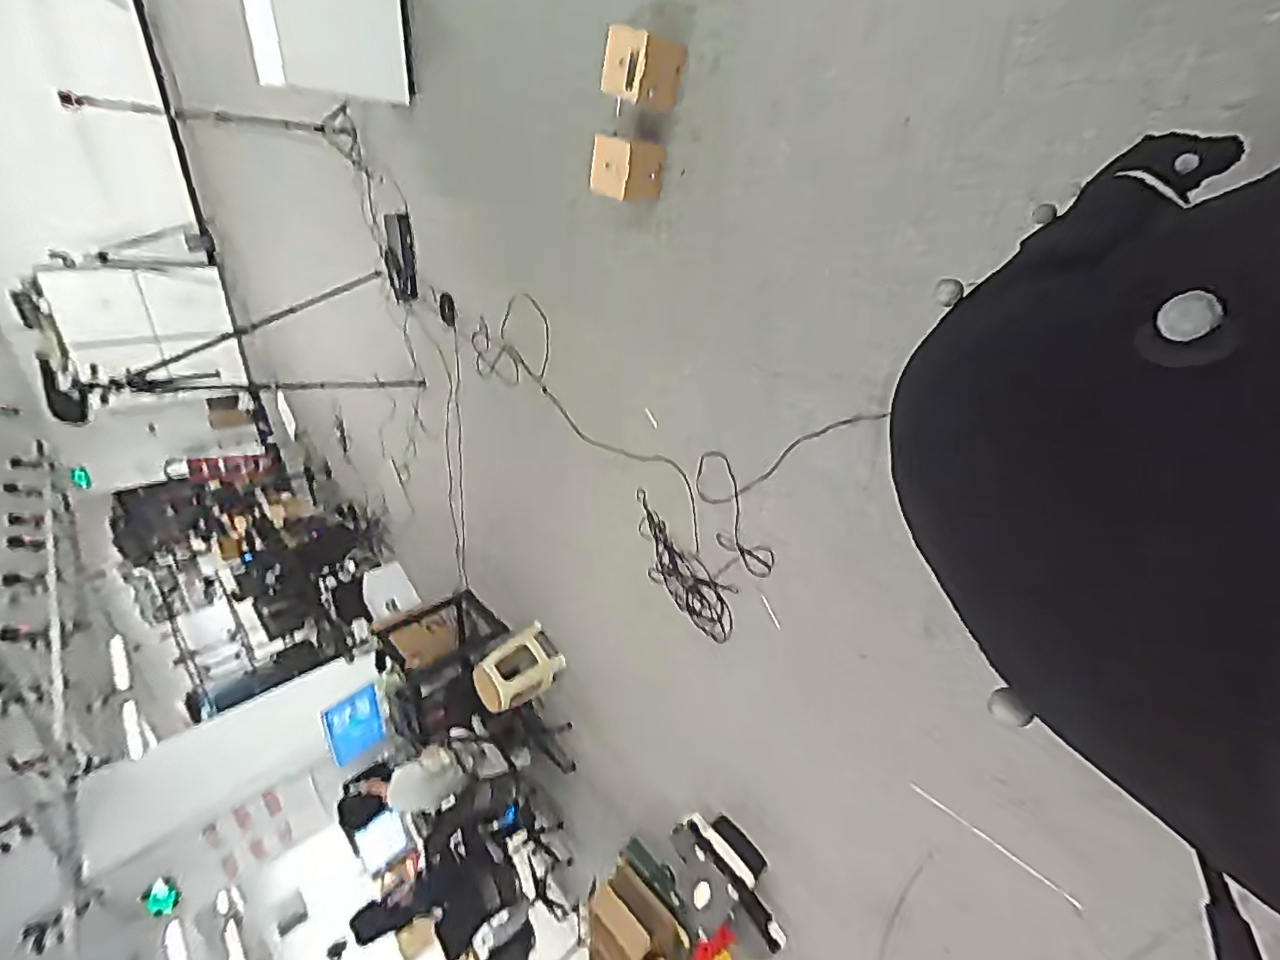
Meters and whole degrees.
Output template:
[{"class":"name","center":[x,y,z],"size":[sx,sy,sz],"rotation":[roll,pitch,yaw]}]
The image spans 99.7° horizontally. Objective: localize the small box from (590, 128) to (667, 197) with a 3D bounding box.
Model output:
[{"class":"small box","center":[-0.039,-1.049,1.795],"size":[0.179,0.176,0.168],"rotation":[37,131,31]}]
